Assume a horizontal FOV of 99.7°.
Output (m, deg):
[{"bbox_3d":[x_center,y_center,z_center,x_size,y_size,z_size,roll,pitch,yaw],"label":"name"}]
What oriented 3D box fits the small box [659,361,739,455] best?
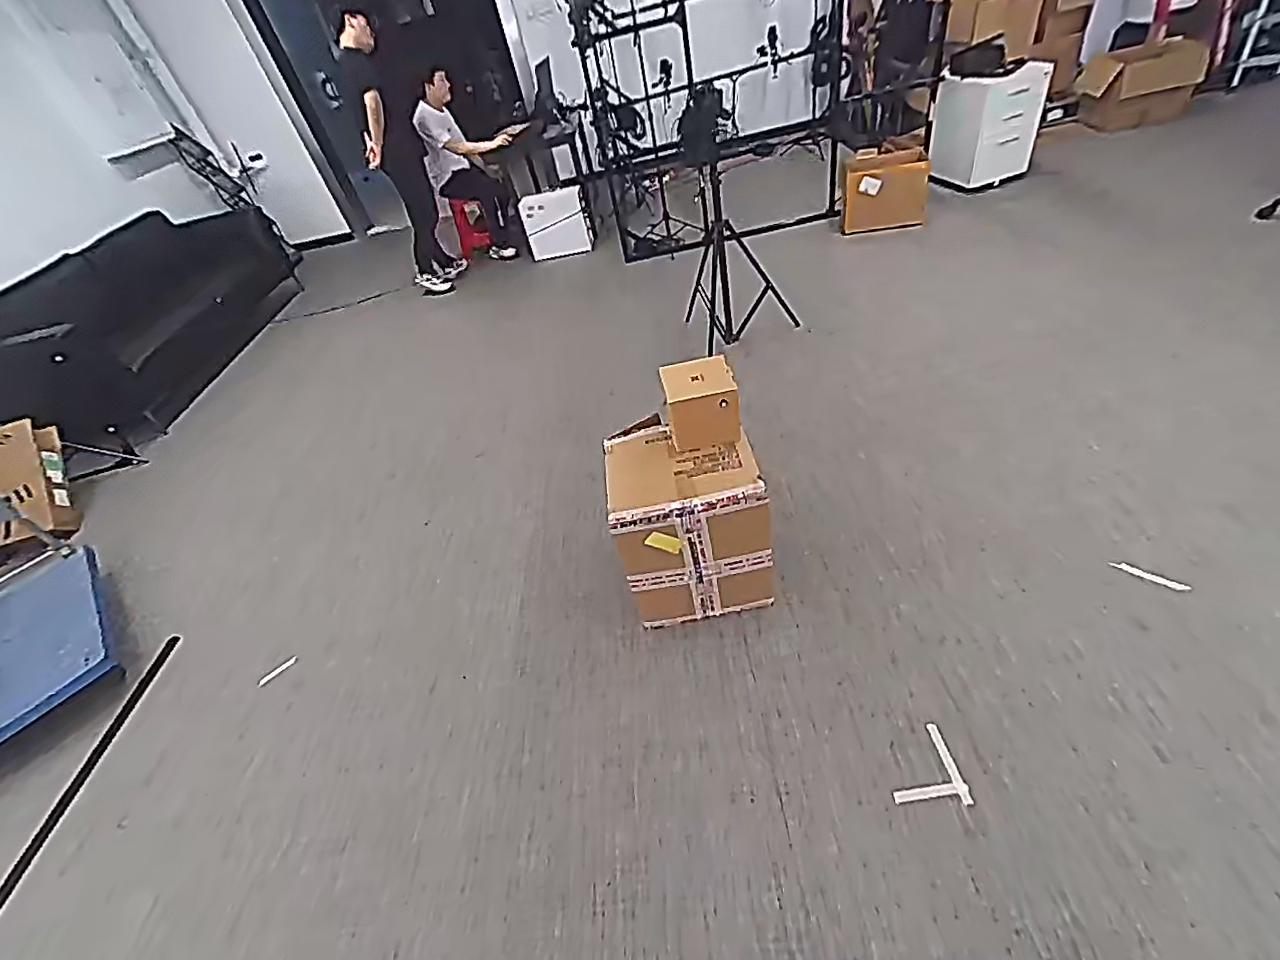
[{"bbox_3d":[0.158,-0.186,1.430,0.179,0.176,0.168,-11,43,1],"label":"small box"}]
